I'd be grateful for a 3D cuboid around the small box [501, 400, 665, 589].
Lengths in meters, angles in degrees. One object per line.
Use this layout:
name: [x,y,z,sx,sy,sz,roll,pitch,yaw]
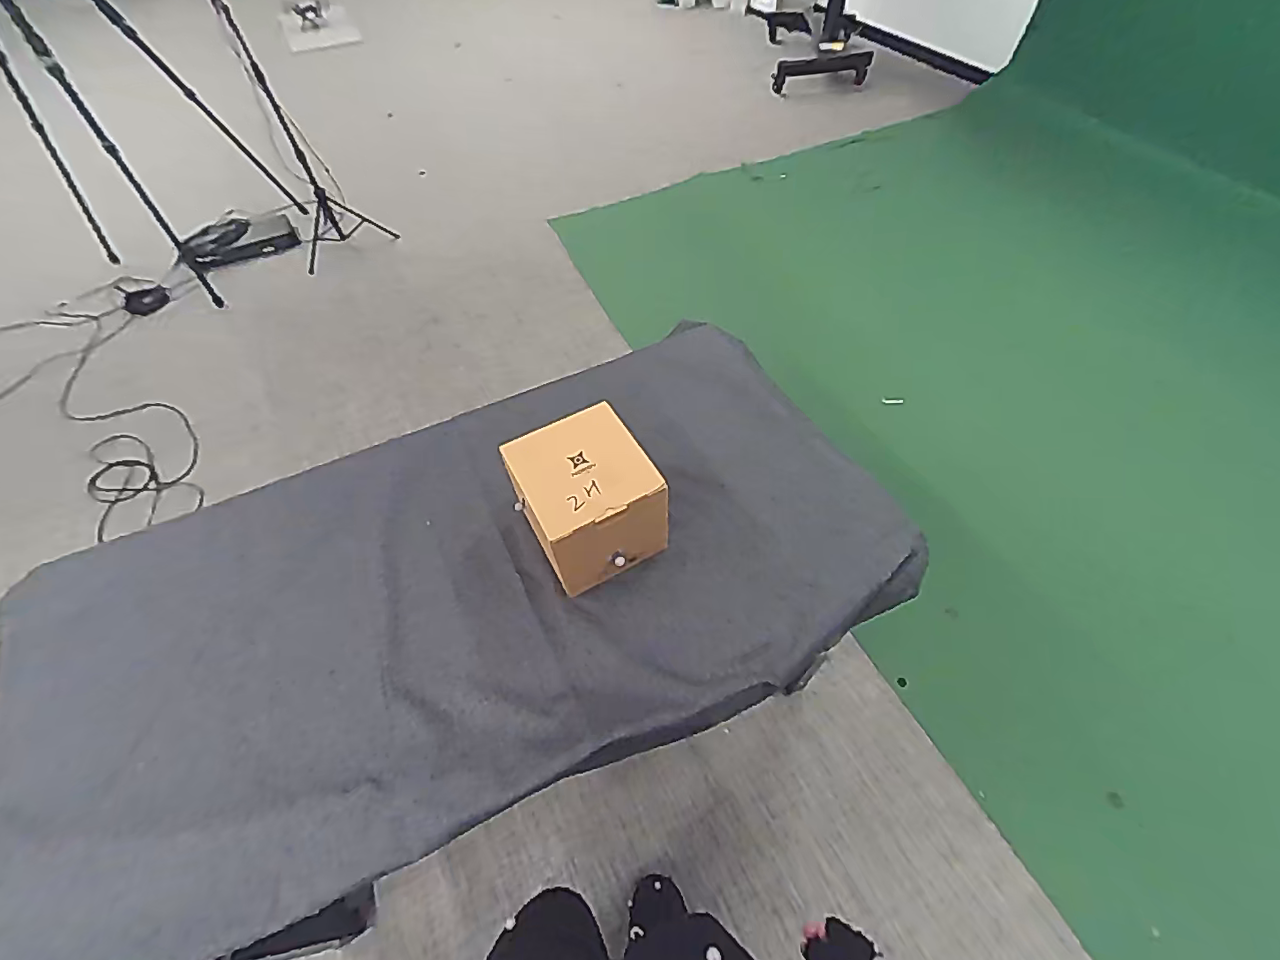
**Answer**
small box: [-0.078,0.024,0.773,0.168,0.176,0.179,-26,58,-15]
